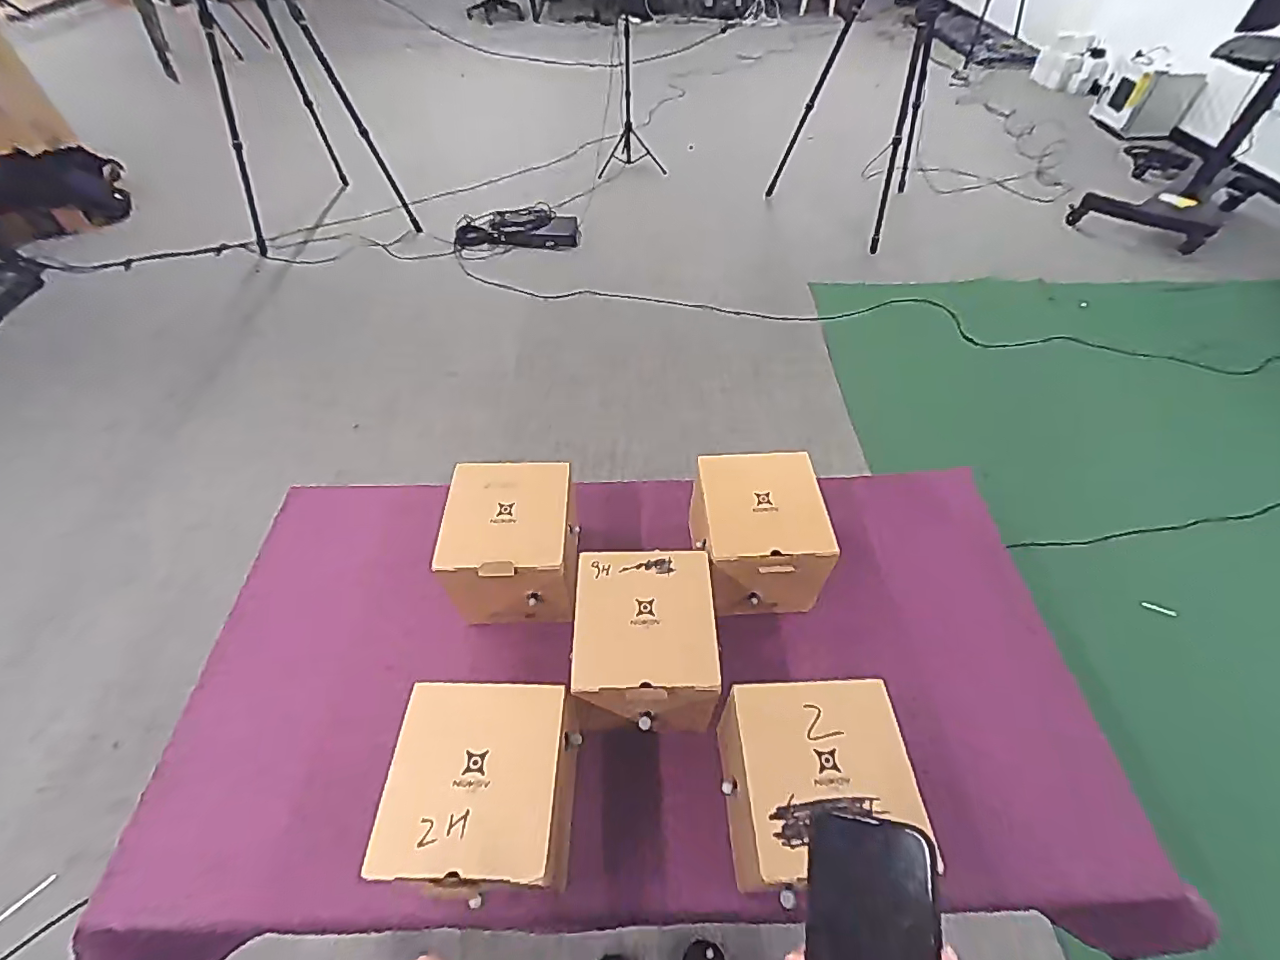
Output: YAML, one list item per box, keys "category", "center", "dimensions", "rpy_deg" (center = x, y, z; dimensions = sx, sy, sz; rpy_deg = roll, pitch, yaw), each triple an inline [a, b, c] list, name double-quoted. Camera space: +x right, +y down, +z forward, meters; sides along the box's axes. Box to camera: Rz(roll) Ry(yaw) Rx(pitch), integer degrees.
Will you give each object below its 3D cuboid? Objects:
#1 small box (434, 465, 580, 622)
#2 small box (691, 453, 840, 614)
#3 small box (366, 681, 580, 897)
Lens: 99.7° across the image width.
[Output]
- category: "small box"
  center: [-0.179, 0.098, 0.790]
  dimensions: [0.168, 0.176, 0.179]
  rpy_deg: [0, 51, -1]
- category: "small box"
  center: [0.170, 0.081, 0.801]
  dimensions: [0.168, 0.176, 0.179]
  rpy_deg: [-3, 52, -2]
- category: "small box"
  center: [-0.160, 0.339, 0.592]
  dimensions: [0.168, 0.176, 0.179]
  rpy_deg: [1, 51, 2]
